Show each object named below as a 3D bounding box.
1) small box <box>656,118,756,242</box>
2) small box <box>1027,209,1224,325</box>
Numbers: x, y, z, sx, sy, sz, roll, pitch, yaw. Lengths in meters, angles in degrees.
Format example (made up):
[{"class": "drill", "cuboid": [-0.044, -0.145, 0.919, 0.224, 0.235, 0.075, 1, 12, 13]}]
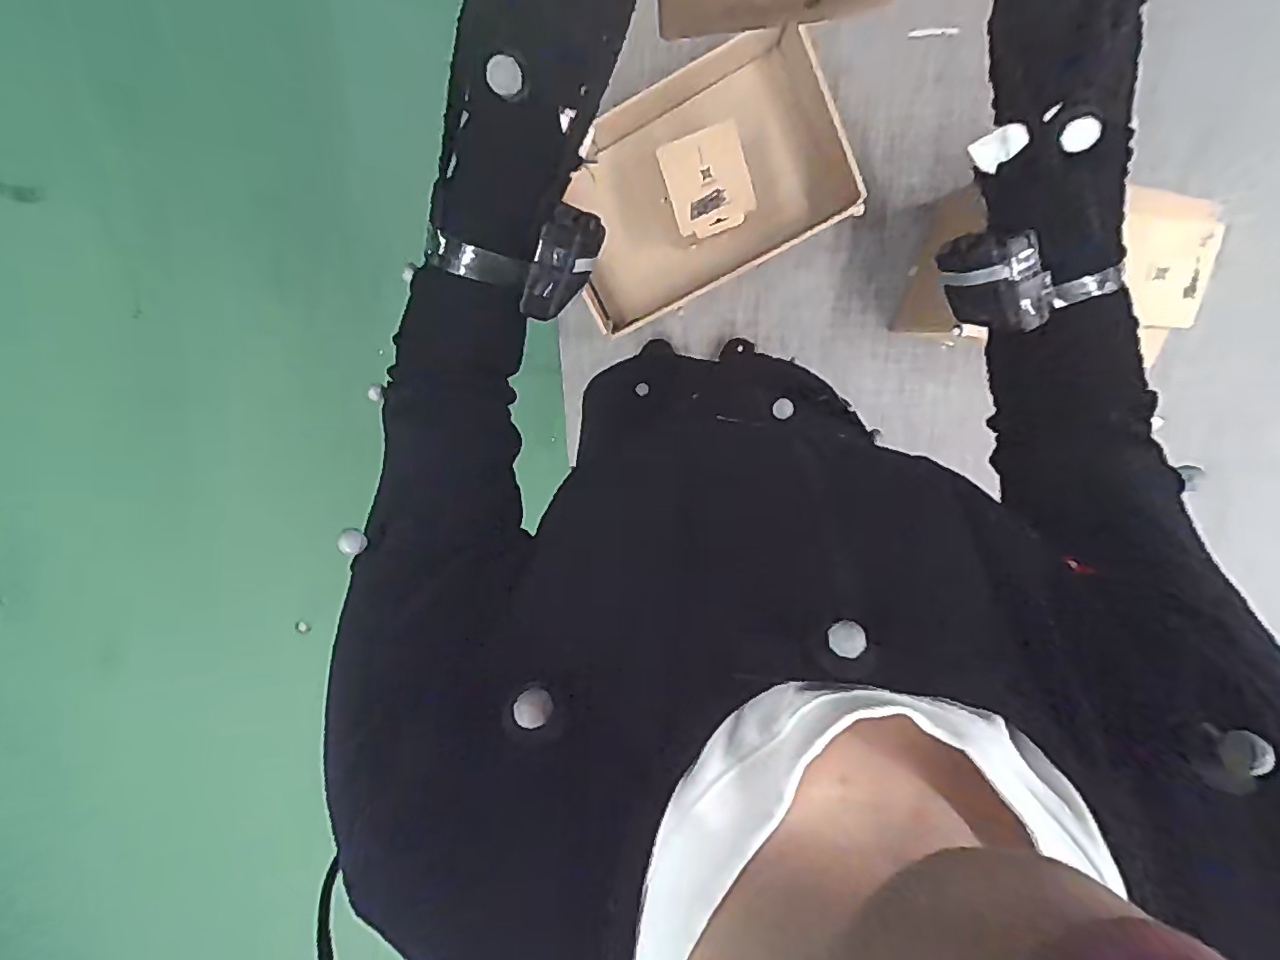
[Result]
[{"class": "small box", "cuboid": [0.140, -0.631, 1.167, 0.168, 0.176, 0.179, -18, 103, 7]}, {"class": "small box", "cuboid": [0.834, -0.366, 0.953, 0.179, 0.176, 0.168, 4, 106, 0]}]
